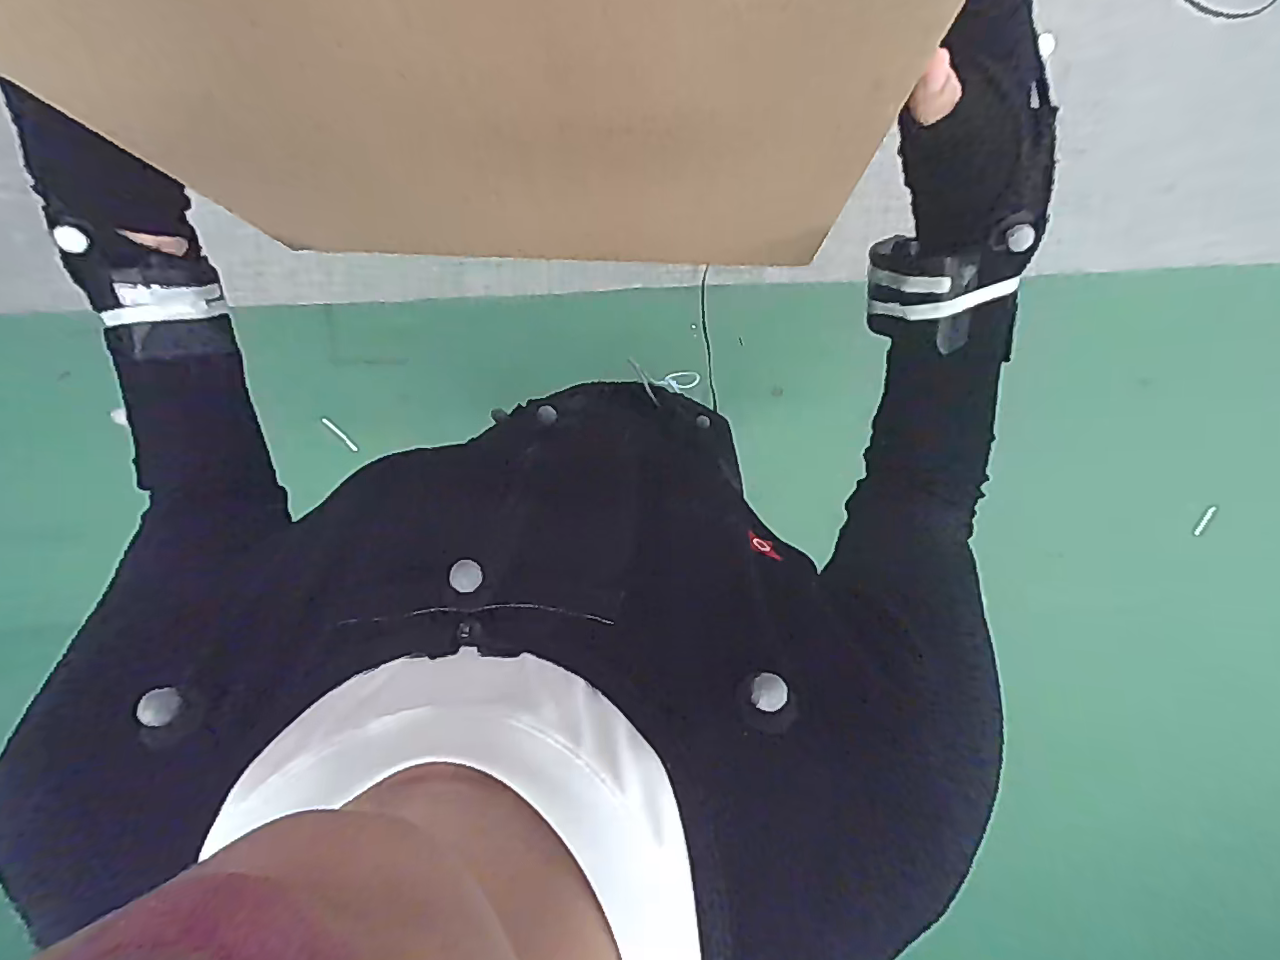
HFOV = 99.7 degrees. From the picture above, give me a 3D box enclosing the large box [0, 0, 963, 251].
[{"bbox_3d":[-0.068,-0.329,0.262,0.408,0.320,0.320,4,90,4],"label":"large box"}]
